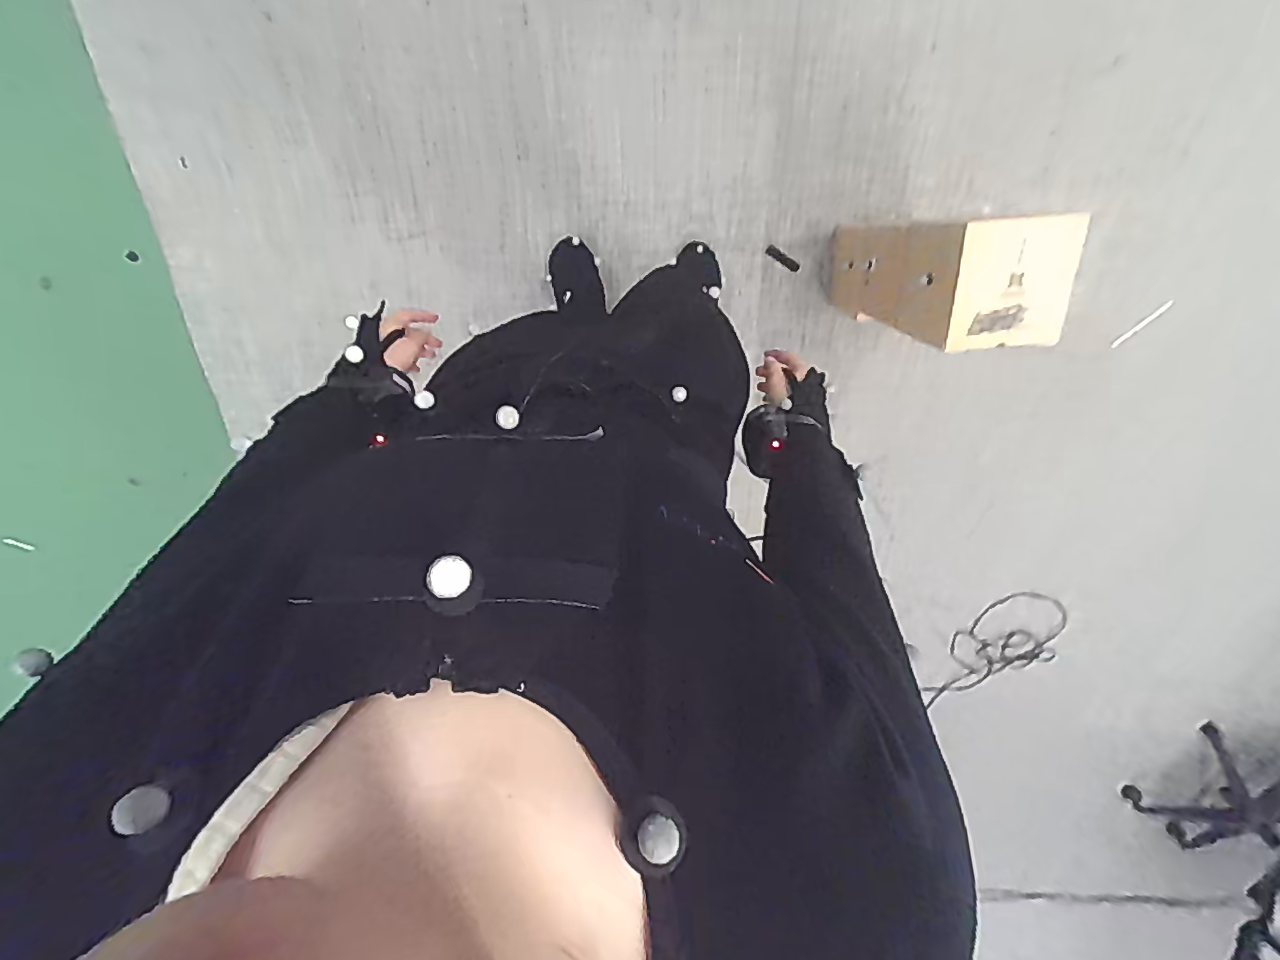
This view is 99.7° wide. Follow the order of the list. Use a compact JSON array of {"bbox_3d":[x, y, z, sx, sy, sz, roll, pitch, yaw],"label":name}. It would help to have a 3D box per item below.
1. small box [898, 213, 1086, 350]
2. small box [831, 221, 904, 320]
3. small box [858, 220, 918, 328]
[{"bbox_3d":[0.518,-0.308,0.829,0.168,0.176,0.179,-4,115,1],"label":"small box"},{"bbox_3d":[0.511,-0.441,1.128,0.168,0.176,0.179,-4,116,2],"label":"small box"},{"bbox_3d":[0.518,-0.378,0.977,0.179,0.176,0.168,-5,115,2],"label":"small box"}]
